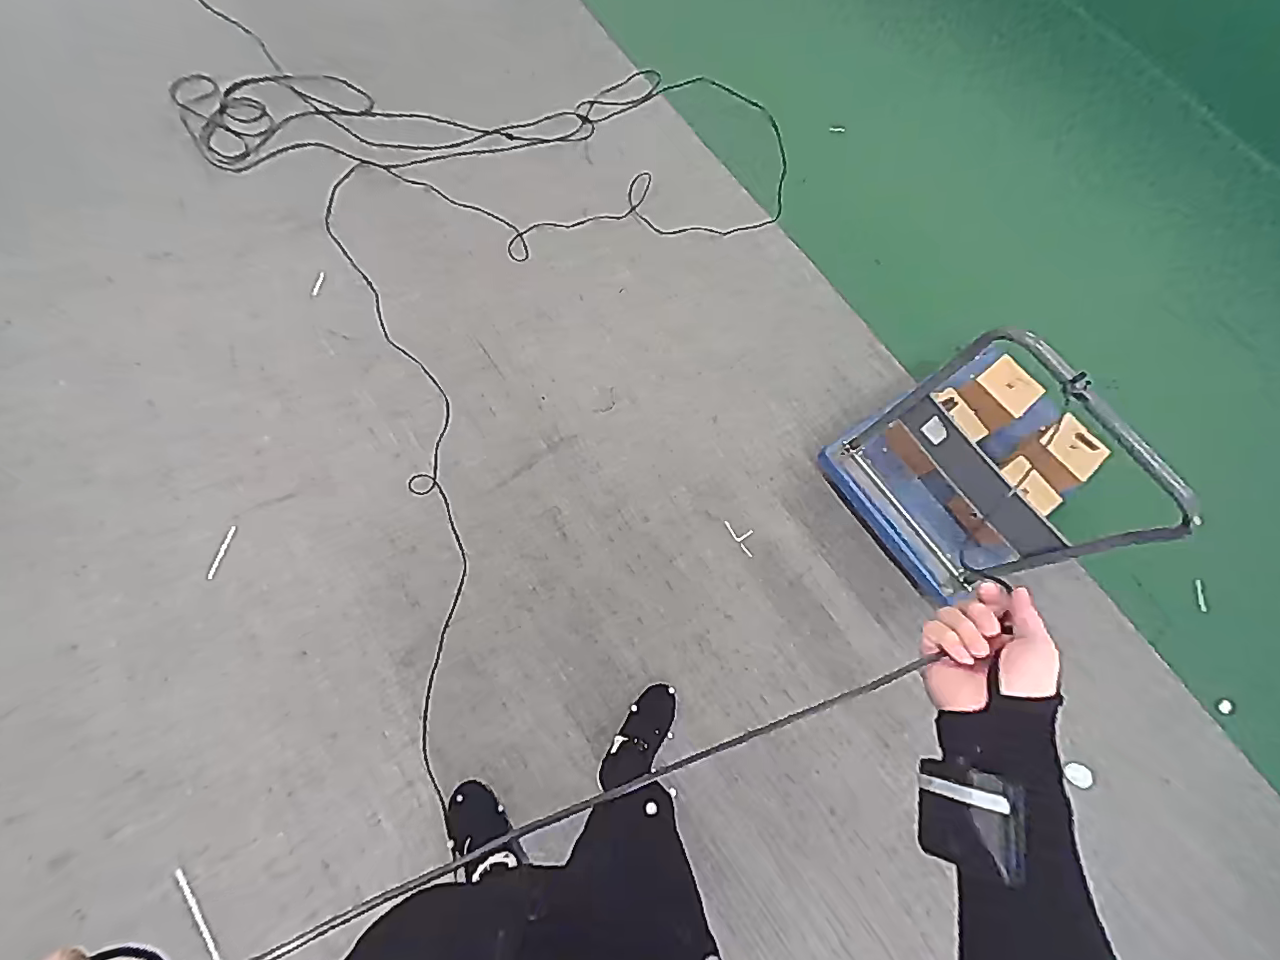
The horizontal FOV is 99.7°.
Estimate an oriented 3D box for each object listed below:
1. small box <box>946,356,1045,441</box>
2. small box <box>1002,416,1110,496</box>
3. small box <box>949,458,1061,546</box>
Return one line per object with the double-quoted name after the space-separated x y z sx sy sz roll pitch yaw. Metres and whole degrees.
1.115 -0.251 1.715 0.179 0.176 0.168 -35 79 -21 "small box"
1.271 -0.061 1.666 0.179 0.176 0.168 -35 77 -20 "small box"
1.053 0.069 1.574 0.179 0.176 0.168 -30 76 -19 "small box"
